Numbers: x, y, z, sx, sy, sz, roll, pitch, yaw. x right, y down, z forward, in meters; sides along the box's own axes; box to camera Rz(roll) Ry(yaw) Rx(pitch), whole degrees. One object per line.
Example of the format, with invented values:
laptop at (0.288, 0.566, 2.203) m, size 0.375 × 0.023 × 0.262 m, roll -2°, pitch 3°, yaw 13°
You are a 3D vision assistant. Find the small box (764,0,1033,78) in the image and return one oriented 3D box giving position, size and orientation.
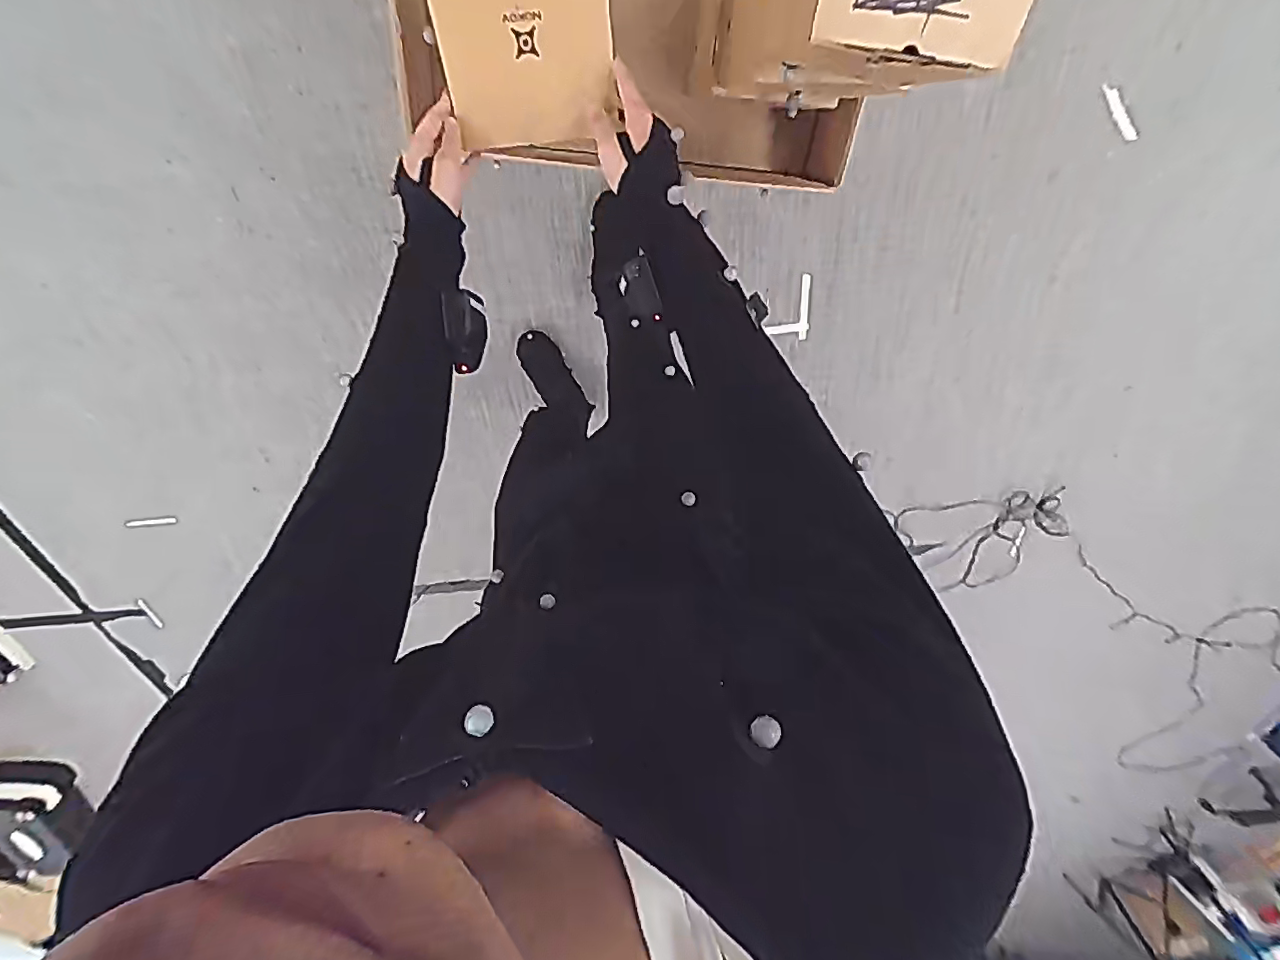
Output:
small box at (0.210, -0.441, 0.431) m, size 0.168 × 0.176 × 0.179 m, roll 3°, pitch 123°, yaw -7°

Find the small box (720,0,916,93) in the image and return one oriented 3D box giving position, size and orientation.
small box at (0.197, -0.520, 0.576) m, size 0.179 × 0.176 × 0.168 m, roll 0°, pitch 124°, yaw -6°

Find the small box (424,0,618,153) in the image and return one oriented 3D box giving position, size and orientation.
small box at (-0.114, -0.459, 0.557) m, size 0.168 × 0.176 × 0.179 m, roll -8°, pitch 129°, yaw -1°
